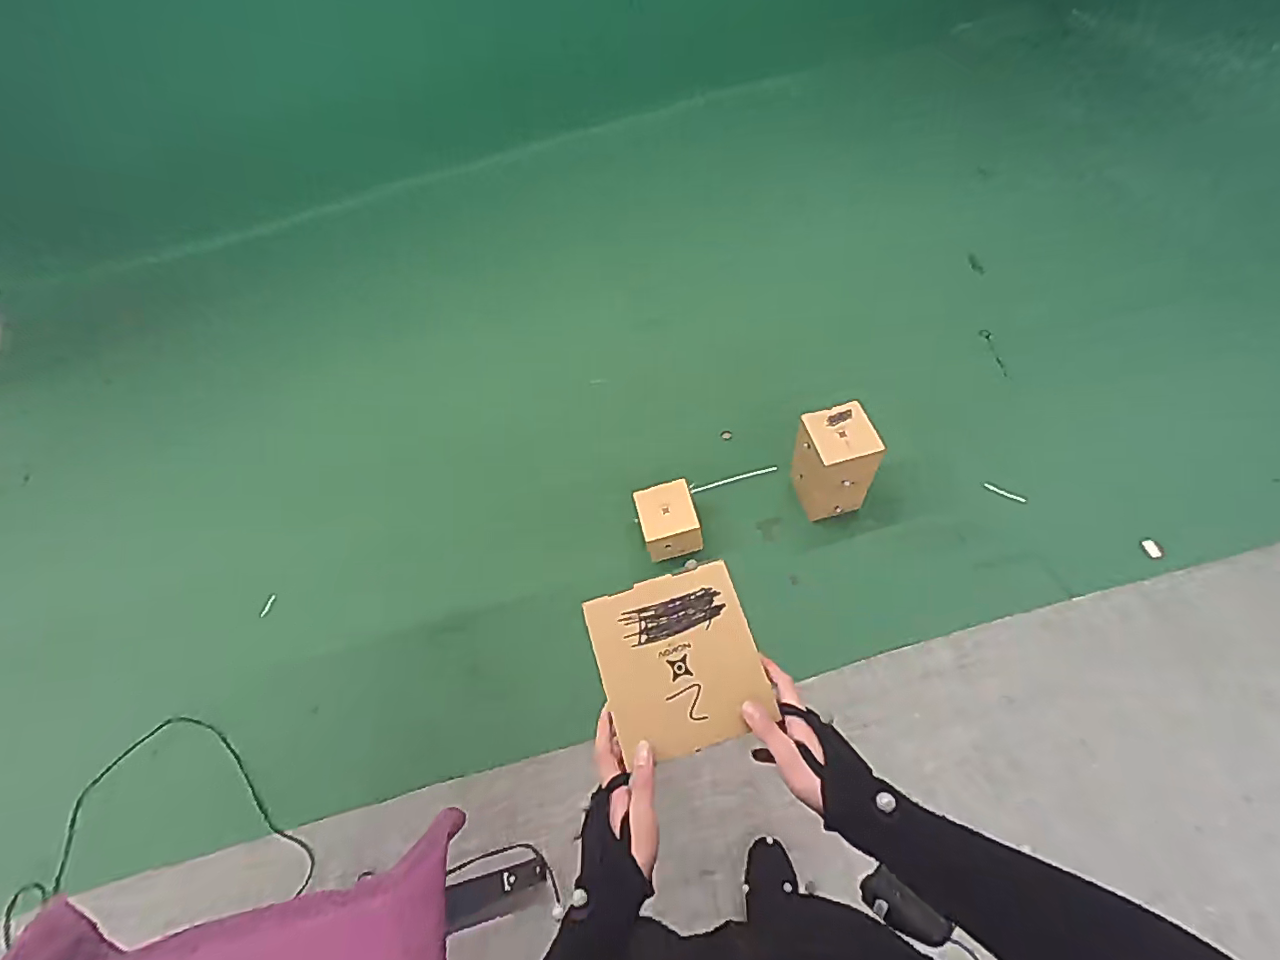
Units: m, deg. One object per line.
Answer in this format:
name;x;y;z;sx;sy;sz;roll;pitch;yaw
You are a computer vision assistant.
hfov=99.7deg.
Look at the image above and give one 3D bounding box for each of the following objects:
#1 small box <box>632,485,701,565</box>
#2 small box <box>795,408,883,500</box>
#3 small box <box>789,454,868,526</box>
small box;0.085;0.146;1.667;0.168;0.176;0.179;-16;57;0
small box;0.551;-0.070;1.526;0.168;0.176;0.179;-15;58;0
small box;0.571;0.017;1.664;0.168;0.176;0.179;-14;58;0
